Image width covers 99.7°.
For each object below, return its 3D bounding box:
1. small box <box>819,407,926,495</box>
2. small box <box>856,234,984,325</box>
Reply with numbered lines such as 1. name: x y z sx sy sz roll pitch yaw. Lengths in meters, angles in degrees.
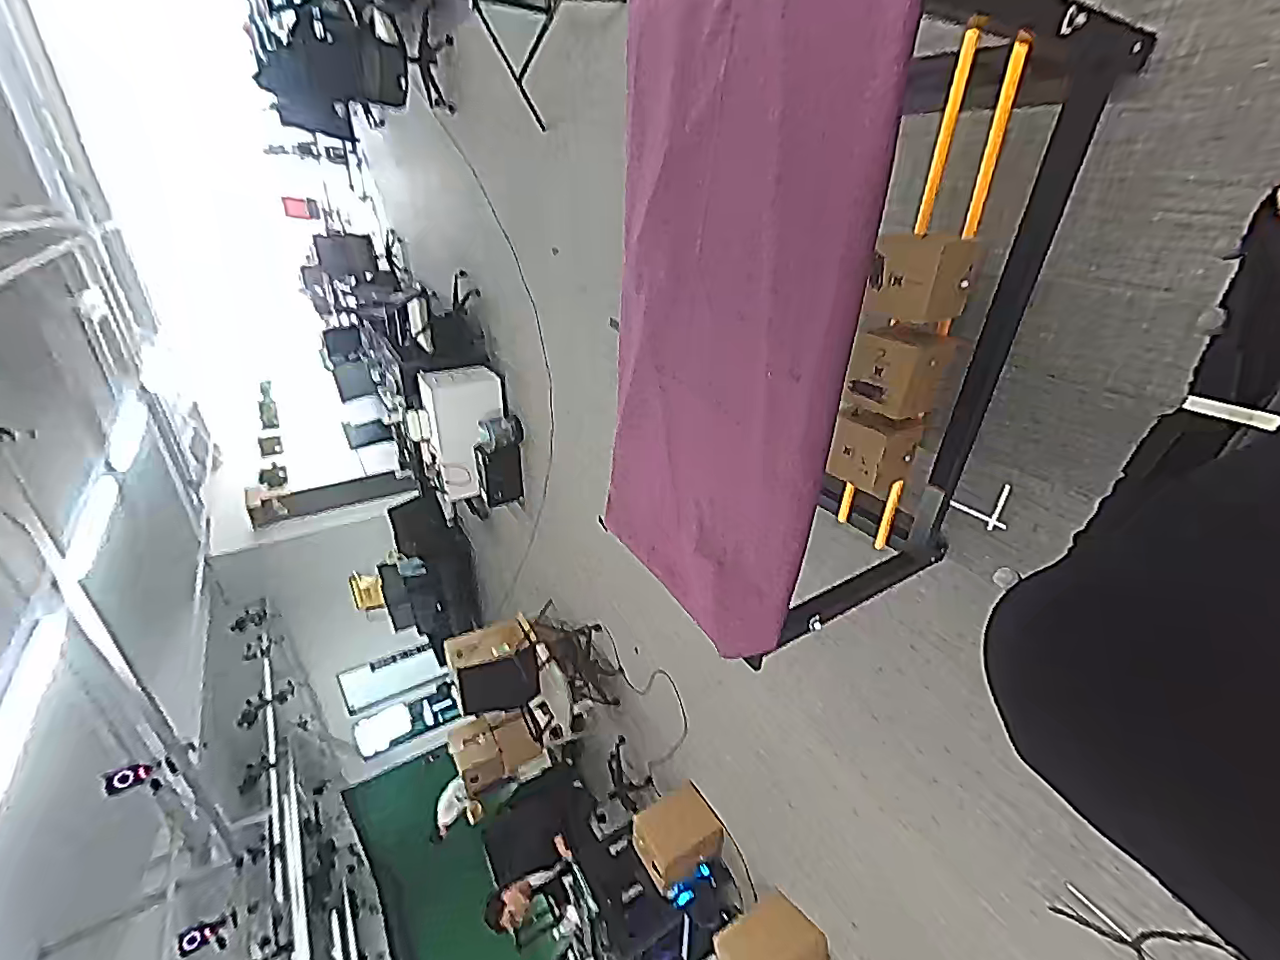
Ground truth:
1. small box: 0.609 -0.085 1.424 0.179 0.176 0.168 36 134 44
2. small box: 0.625 -0.456 1.215 0.179 0.176 0.168 34 133 45
